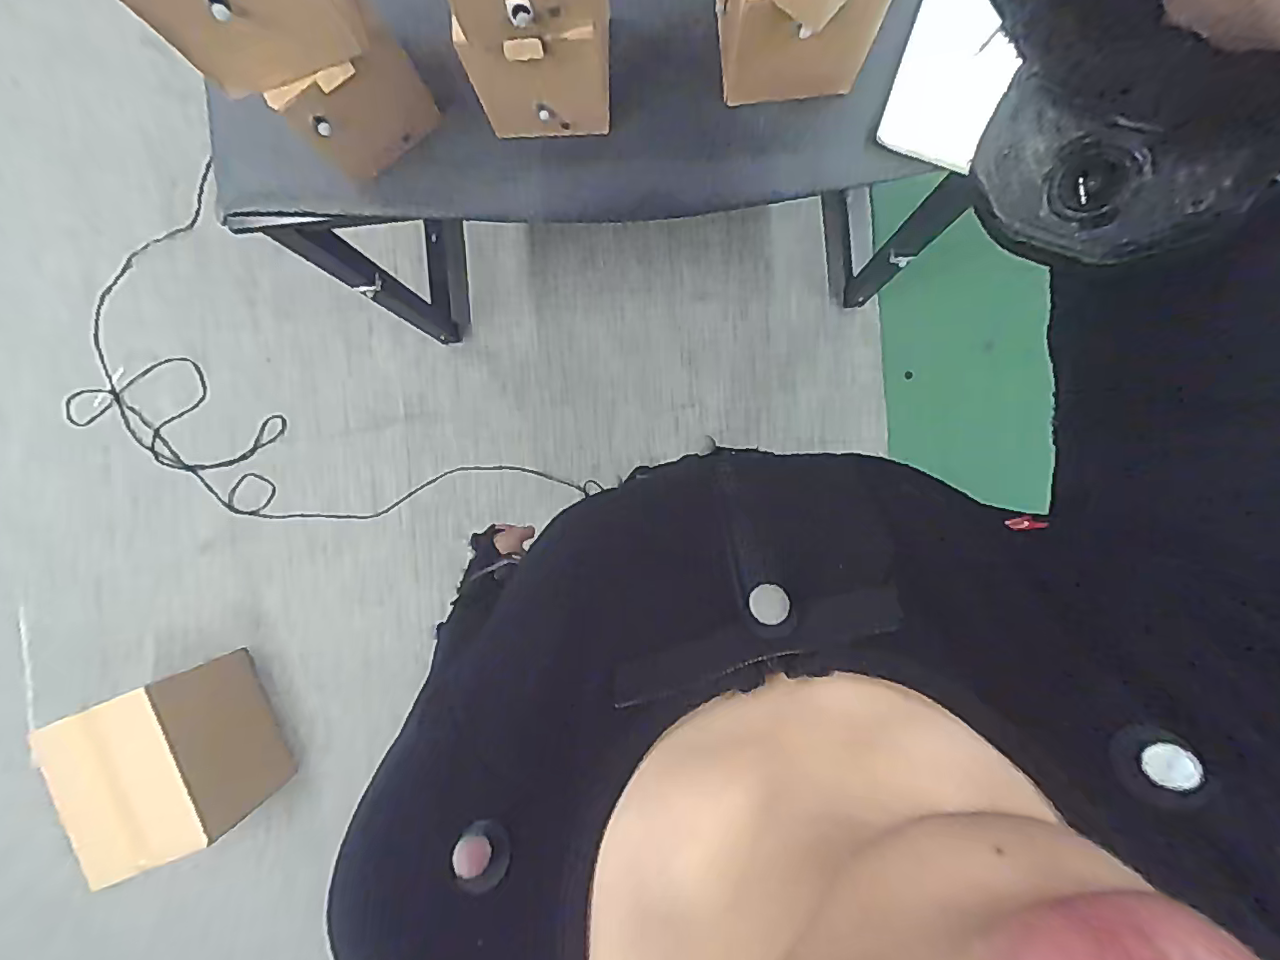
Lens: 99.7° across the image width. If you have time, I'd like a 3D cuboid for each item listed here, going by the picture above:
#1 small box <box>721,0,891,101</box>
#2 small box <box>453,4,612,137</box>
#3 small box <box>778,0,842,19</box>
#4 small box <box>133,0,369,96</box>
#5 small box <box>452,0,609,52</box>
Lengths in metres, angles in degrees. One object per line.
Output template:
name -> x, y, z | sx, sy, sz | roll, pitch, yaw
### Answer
small box -> 0.201, -0.621, 0.681 | 0.179, 0.176, 0.168 | -5, 88, 5
small box -> -0.129, -0.585, 0.699 | 0.168, 0.176, 0.179 | -1, 89, 4
small box -> 0.178, -0.613, 0.518 | 0.179, 0.176, 0.168 | 42, 92, 3
small box -> -0.420, -0.544, 0.552 | 0.179, 0.176, 0.168 | -18, 88, 4
small box -> -0.134, -0.588, 0.537 | 0.168, 0.176, 0.179 | -12, 88, 4
